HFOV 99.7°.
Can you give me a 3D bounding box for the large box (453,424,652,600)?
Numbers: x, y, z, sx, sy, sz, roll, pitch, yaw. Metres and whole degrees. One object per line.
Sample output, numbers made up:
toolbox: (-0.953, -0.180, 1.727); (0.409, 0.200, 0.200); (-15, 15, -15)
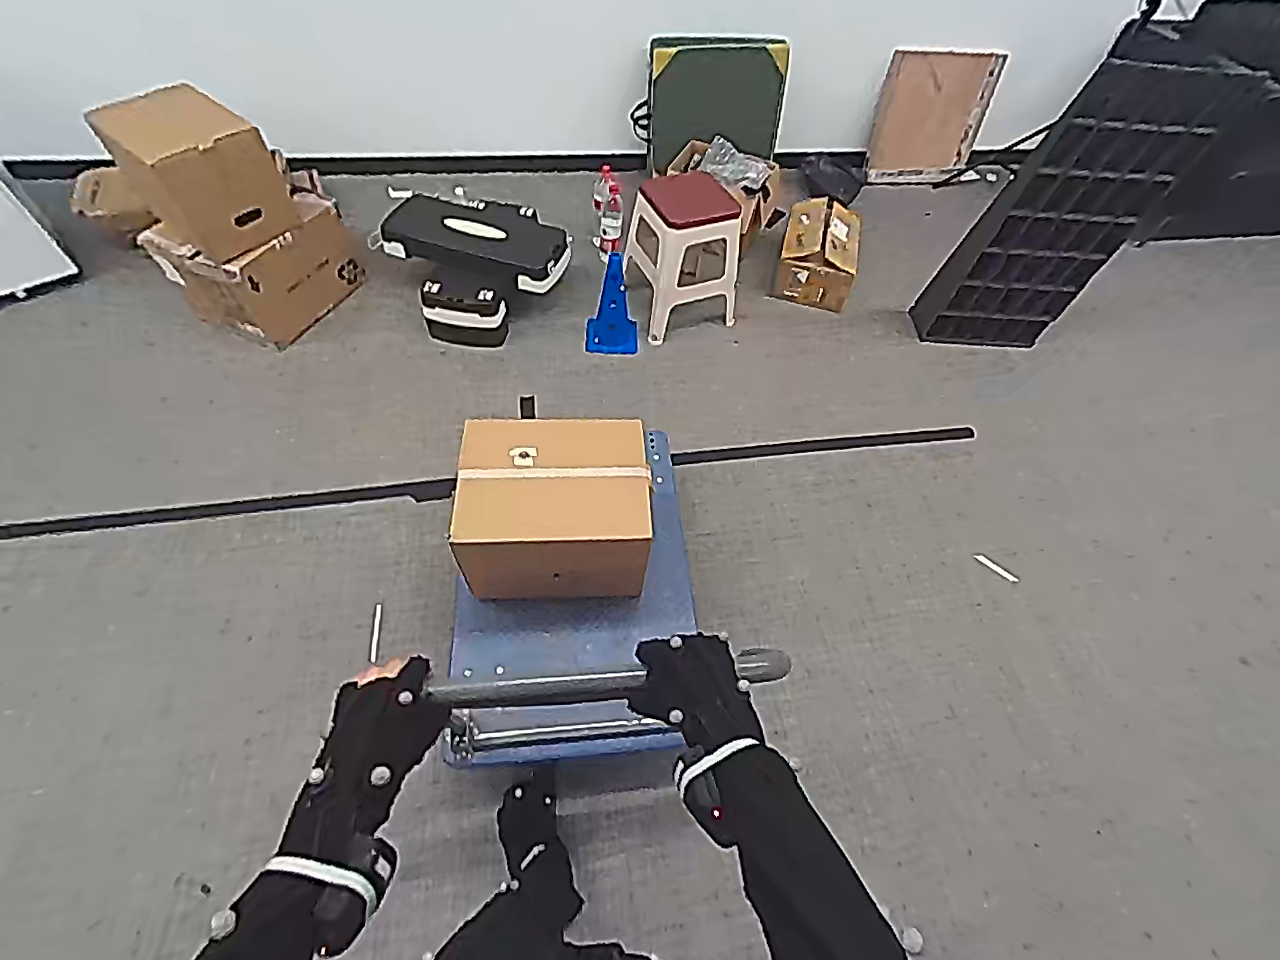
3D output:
large box: (-0.192, 0.084, 1.290); (0.408, 0.320, 0.320); (-1, 56, -5)
